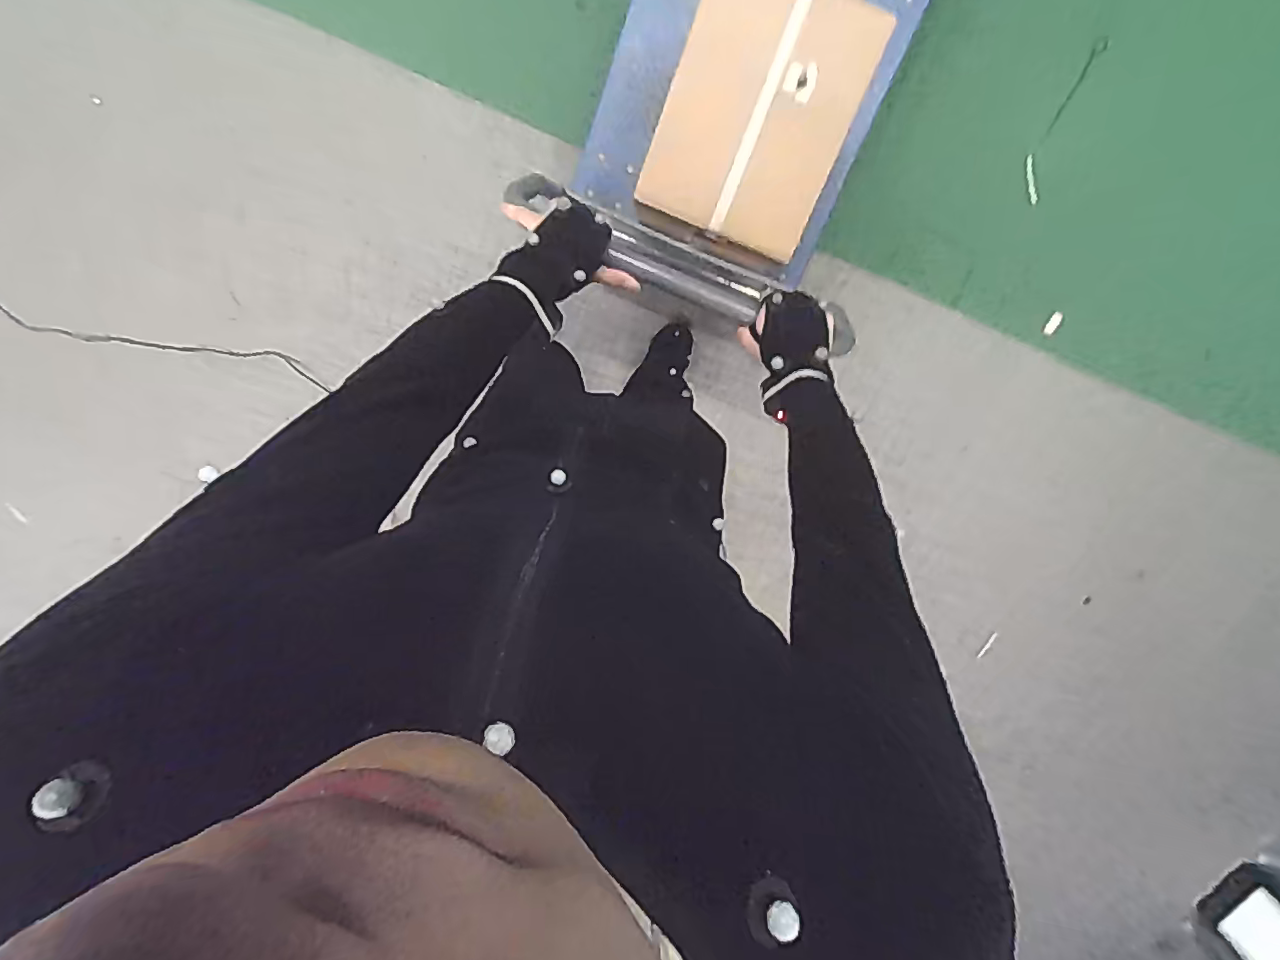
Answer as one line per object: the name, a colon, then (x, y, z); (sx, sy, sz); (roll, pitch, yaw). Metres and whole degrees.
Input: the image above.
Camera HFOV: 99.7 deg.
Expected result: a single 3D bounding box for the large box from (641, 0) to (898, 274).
large box: (0.215, -0.666, 1.064); (0.320, 0.320, 0.408); (21, 107, -6)
